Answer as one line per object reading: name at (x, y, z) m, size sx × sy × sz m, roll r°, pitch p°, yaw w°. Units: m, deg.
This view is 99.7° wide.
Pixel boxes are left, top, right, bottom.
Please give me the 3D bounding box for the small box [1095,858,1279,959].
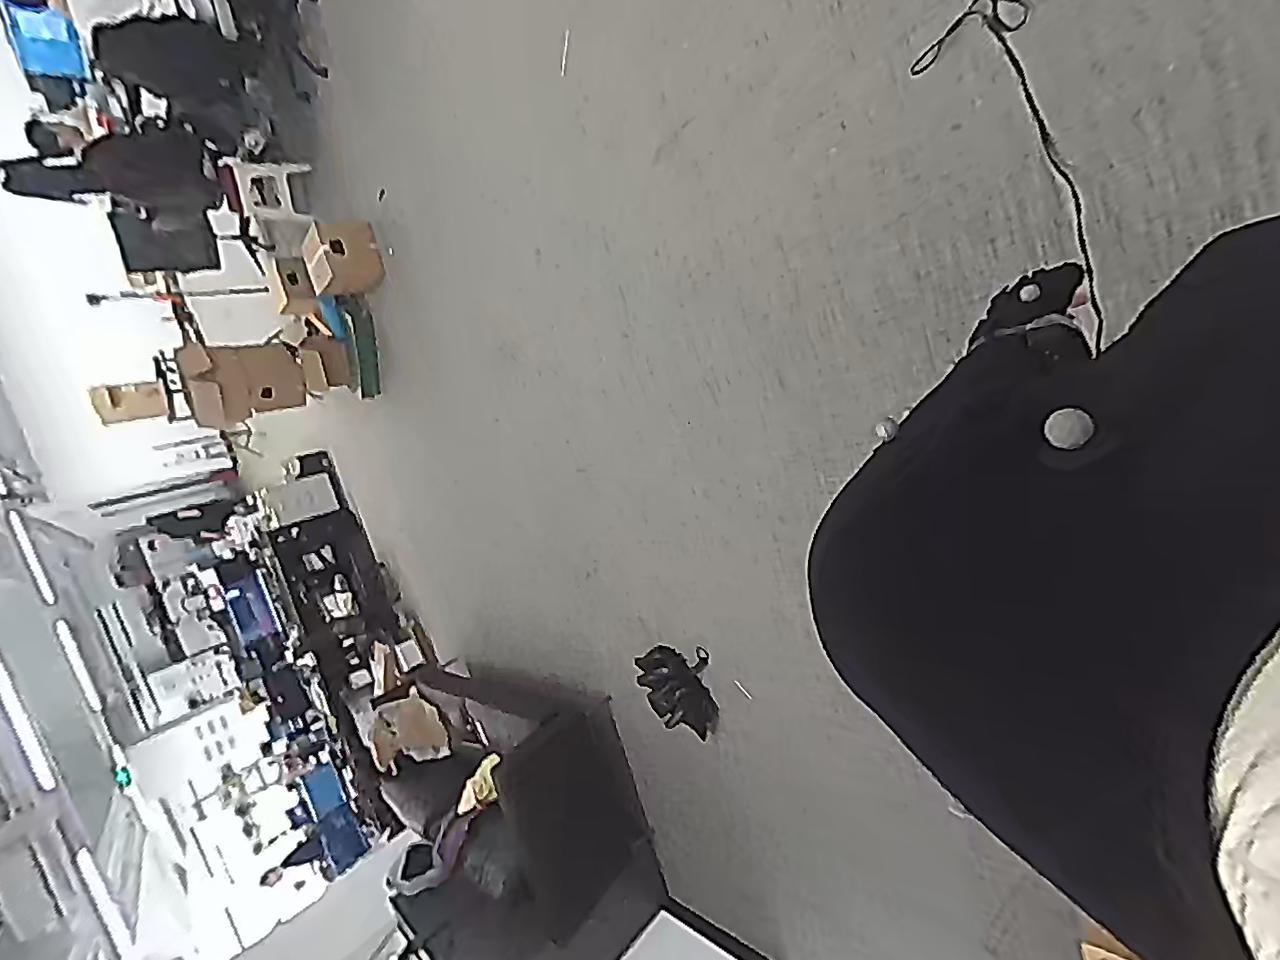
small box at (0.727, 0.653, 0.702) m, size 0.168 × 0.176 × 0.179 m, roll -12°, pitch 98°, yaw 49°
